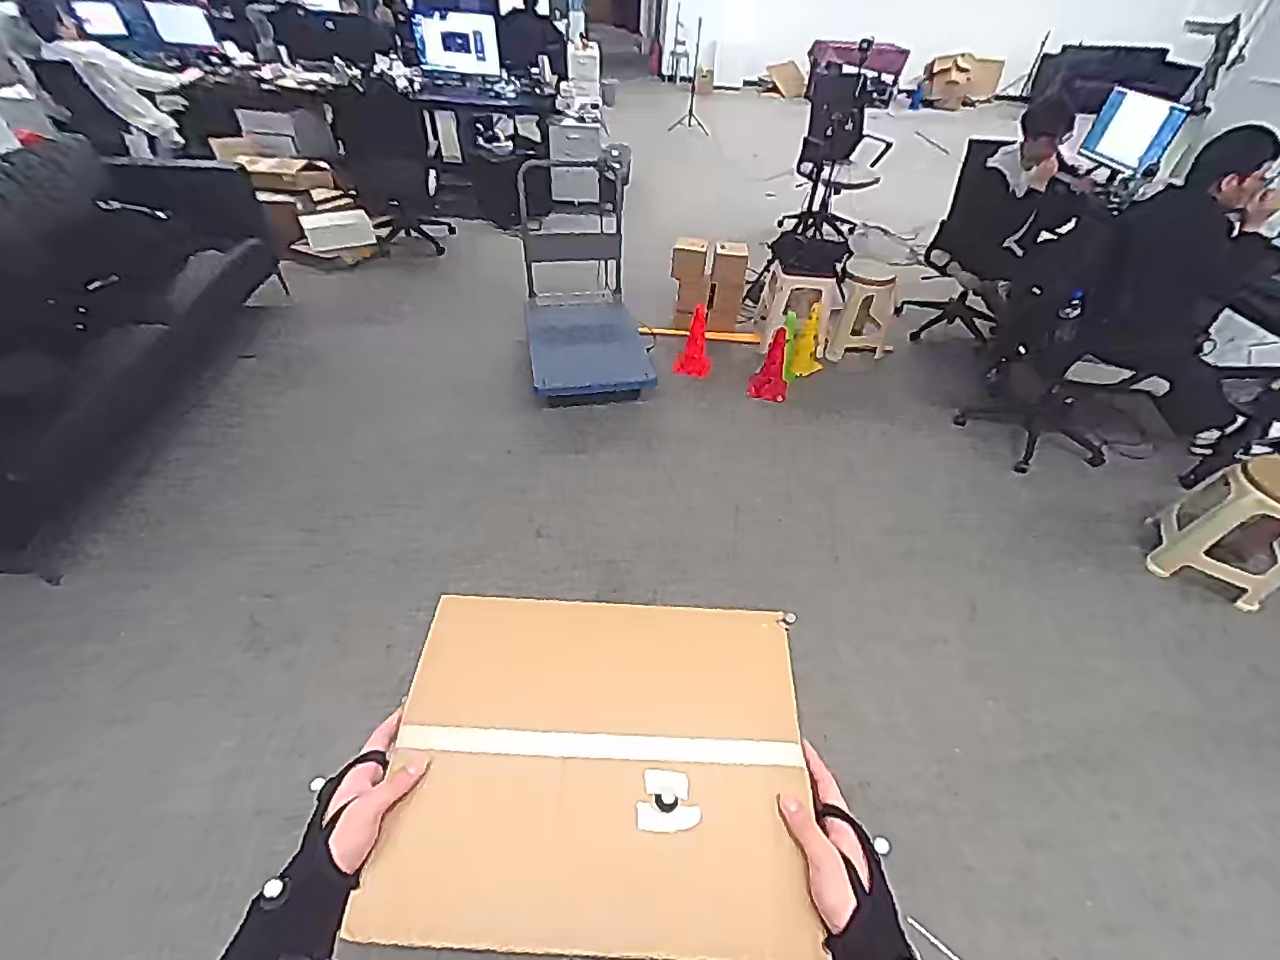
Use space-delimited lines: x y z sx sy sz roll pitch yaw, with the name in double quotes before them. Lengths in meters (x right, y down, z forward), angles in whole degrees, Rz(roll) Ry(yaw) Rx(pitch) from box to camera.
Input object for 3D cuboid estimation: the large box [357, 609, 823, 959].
"large box" -0.044 0.374 0.662 0.408 0.320 0.320 3 50 0
